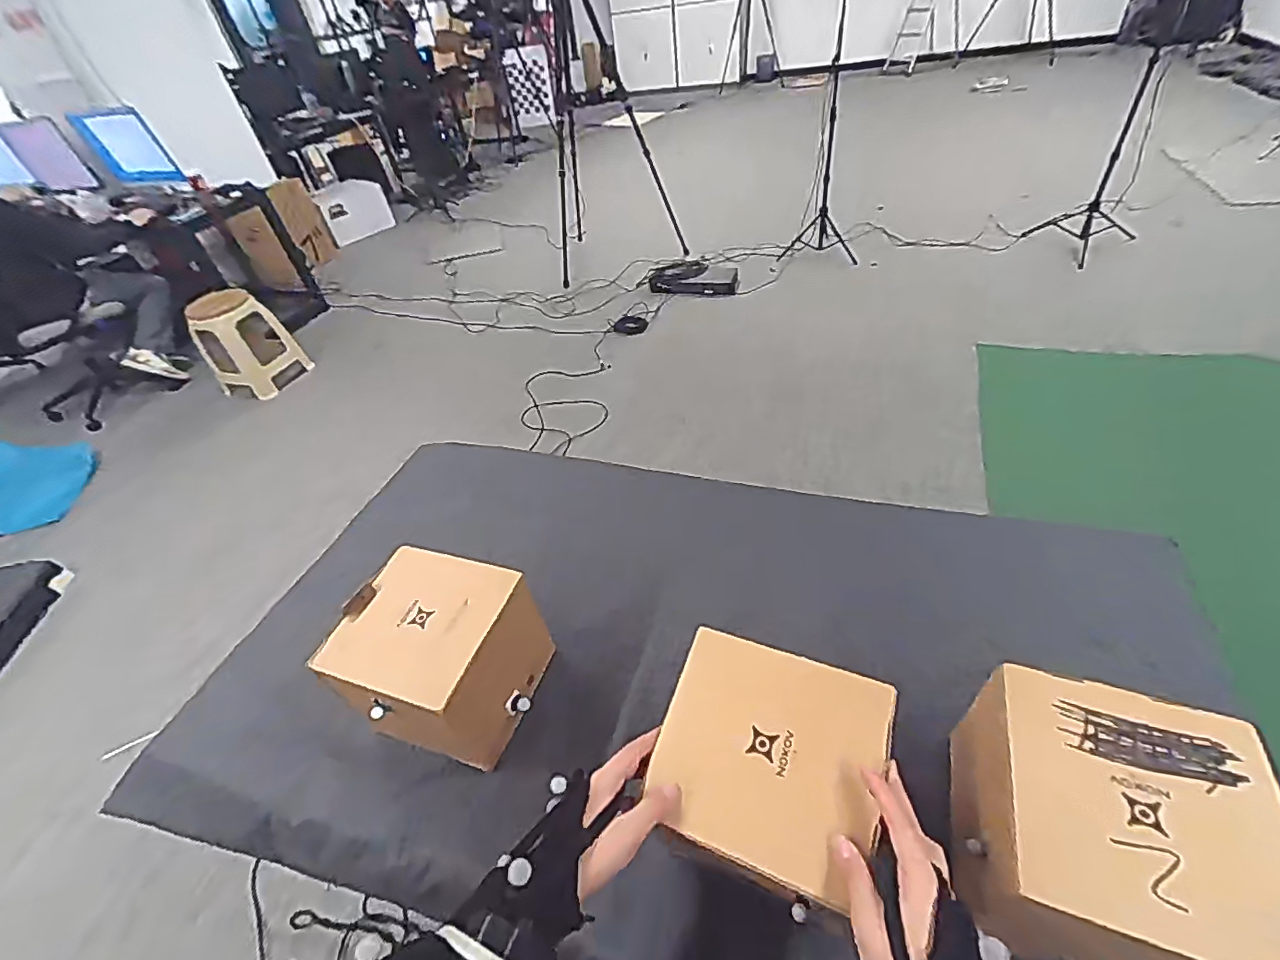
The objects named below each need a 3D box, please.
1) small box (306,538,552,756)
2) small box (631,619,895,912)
[{"bbox_3d":[-0.228,0.194,0.631,0.179,0.176,0.168,9,47,18],"label":"small box"},{"bbox_3d":[0.114,0.259,0.492,0.179,0.176,0.168,13,52,22],"label":"small box"}]
